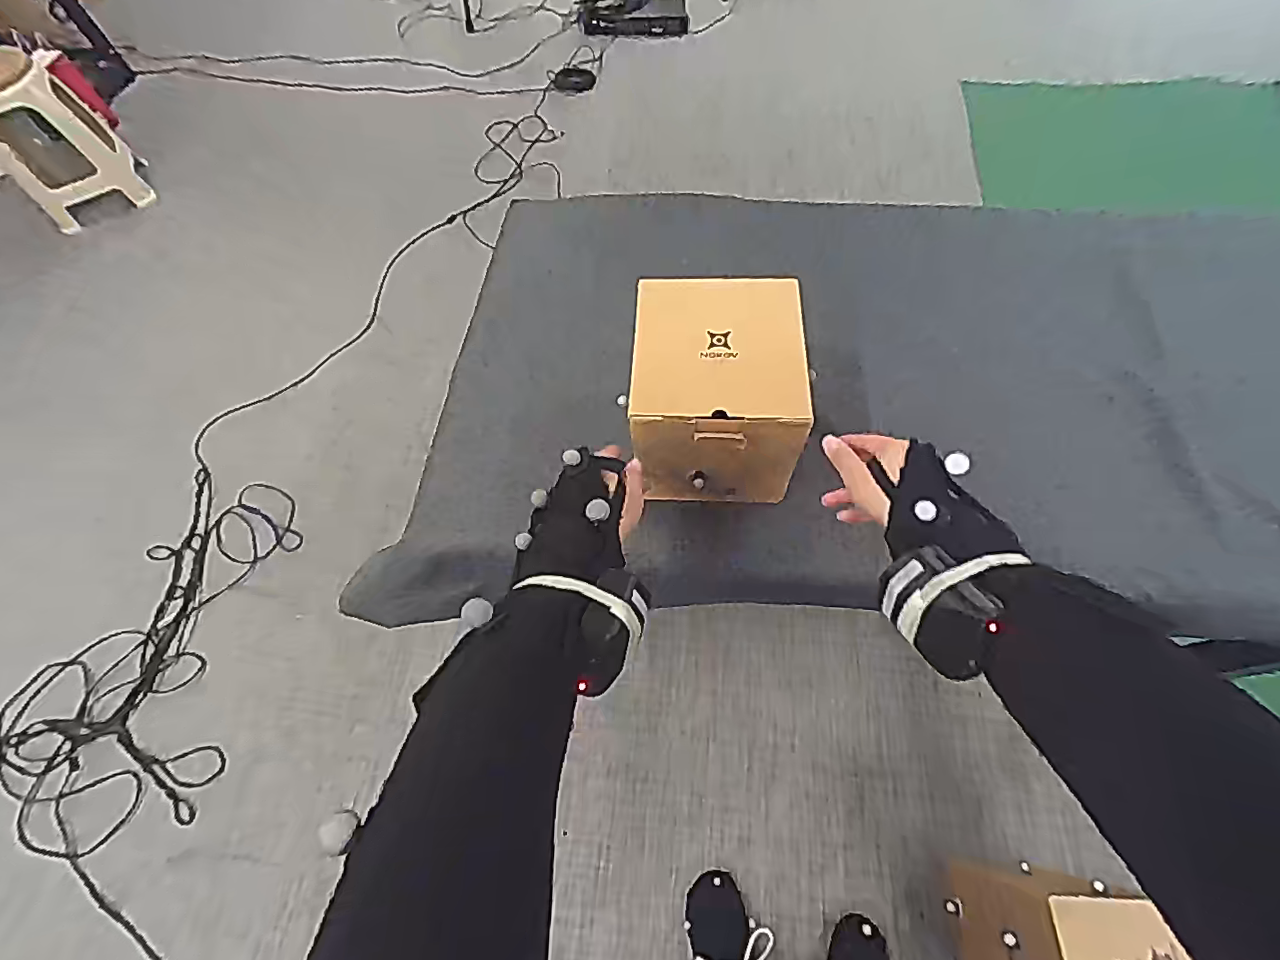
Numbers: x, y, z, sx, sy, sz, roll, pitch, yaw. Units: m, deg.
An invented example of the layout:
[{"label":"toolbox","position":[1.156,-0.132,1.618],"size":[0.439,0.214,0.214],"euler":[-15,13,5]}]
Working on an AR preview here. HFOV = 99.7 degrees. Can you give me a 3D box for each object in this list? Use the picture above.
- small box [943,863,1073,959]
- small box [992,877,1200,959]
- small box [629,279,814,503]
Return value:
[{"label":"small box","position":[0.657,0.767,0.921],"size":[0.179,0.176,0.168],"euler":[0,61,4]},{"label":"small box","position":[0.655,0.688,0.777],"size":[0.179,0.176,0.168],"euler":[0,61,4]},{"label":"small box","position":[0.078,-0.091,0.584],"size":[0.168,0.176,0.179],"euler":[1,63,4]}]
